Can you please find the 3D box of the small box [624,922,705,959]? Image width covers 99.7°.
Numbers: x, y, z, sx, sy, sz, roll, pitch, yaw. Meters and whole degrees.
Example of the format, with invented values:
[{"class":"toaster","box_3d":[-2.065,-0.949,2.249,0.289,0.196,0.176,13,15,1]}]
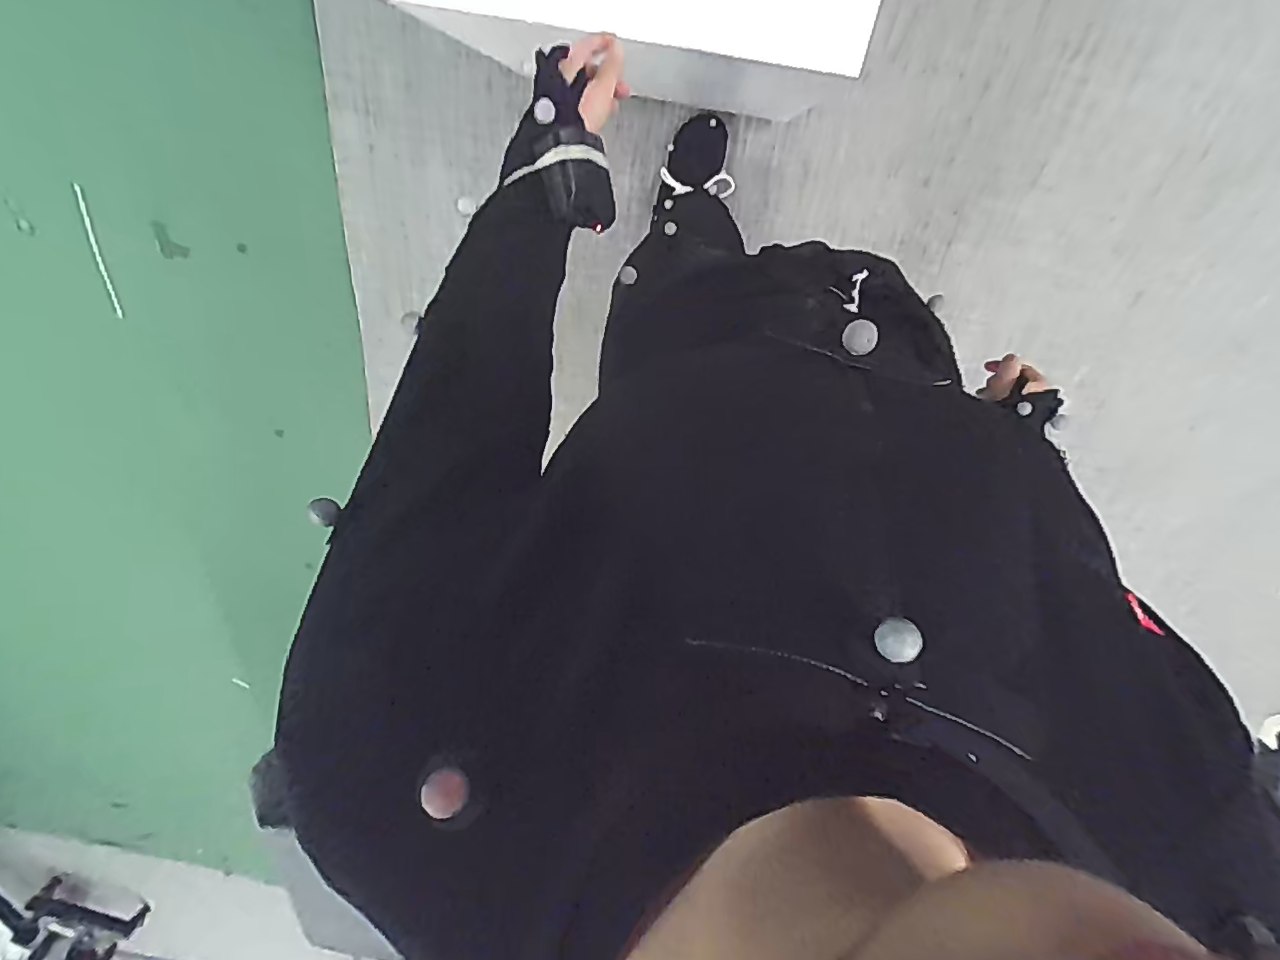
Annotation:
[{"class":"small box","box_3d":[0.046,1.096,1.170,0.179,0.176,0.168,5,121,3]}]
